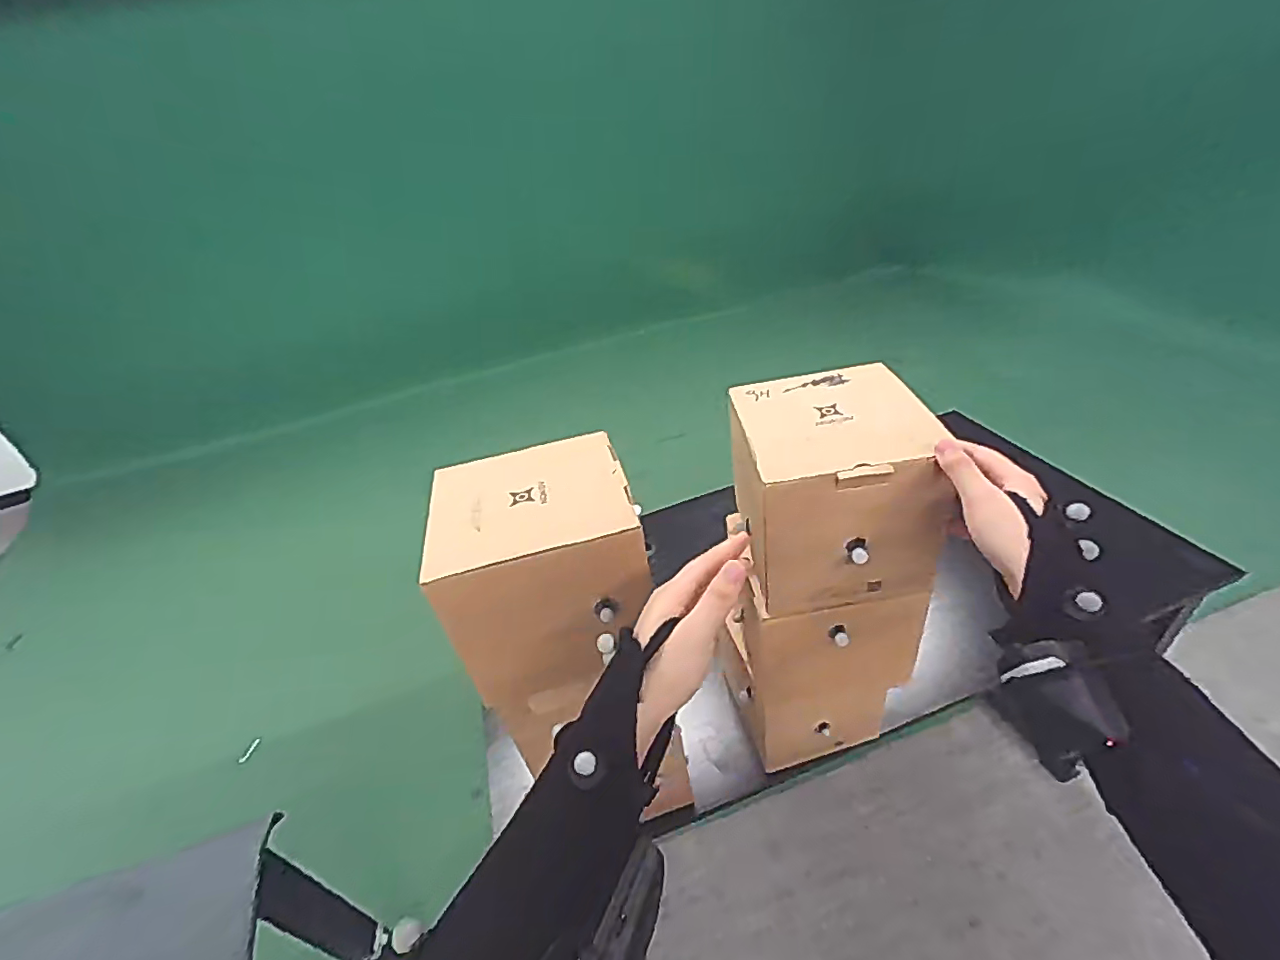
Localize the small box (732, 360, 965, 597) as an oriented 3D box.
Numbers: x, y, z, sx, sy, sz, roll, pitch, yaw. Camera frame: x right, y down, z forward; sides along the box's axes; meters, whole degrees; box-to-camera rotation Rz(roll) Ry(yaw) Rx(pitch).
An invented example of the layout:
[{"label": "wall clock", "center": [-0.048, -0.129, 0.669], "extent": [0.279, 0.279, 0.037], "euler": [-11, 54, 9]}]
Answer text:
[{"label": "small box", "center": [0.194, 0.003, 0.551], "extent": [0.168, 0.176, 0.179], "euler": [-9, 37, 4]}]

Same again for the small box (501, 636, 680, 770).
[{"label": "small box", "center": [-0.060, 0.203, 0.624], "extent": [0.168, 0.176, 0.179], "euler": [-15, 35, -7]}]

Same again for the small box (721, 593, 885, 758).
[{"label": "small box", "center": [0.223, 0.258, 0.753], "extent": [0.168, 0.176, 0.179], "euler": [-15, 36, -6]}]

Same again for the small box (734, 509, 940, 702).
[{"label": "small box", "center": [0.216, 0.137, 0.643], "extent": [0.179, 0.176, 0.168], "euler": [-10, 36, 1]}]

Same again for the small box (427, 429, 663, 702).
[{"label": "small box", "center": [-0.082, 0.079, 0.521], "extent": [0.179, 0.176, 0.168], "euler": [-15, 35, -6]}]
